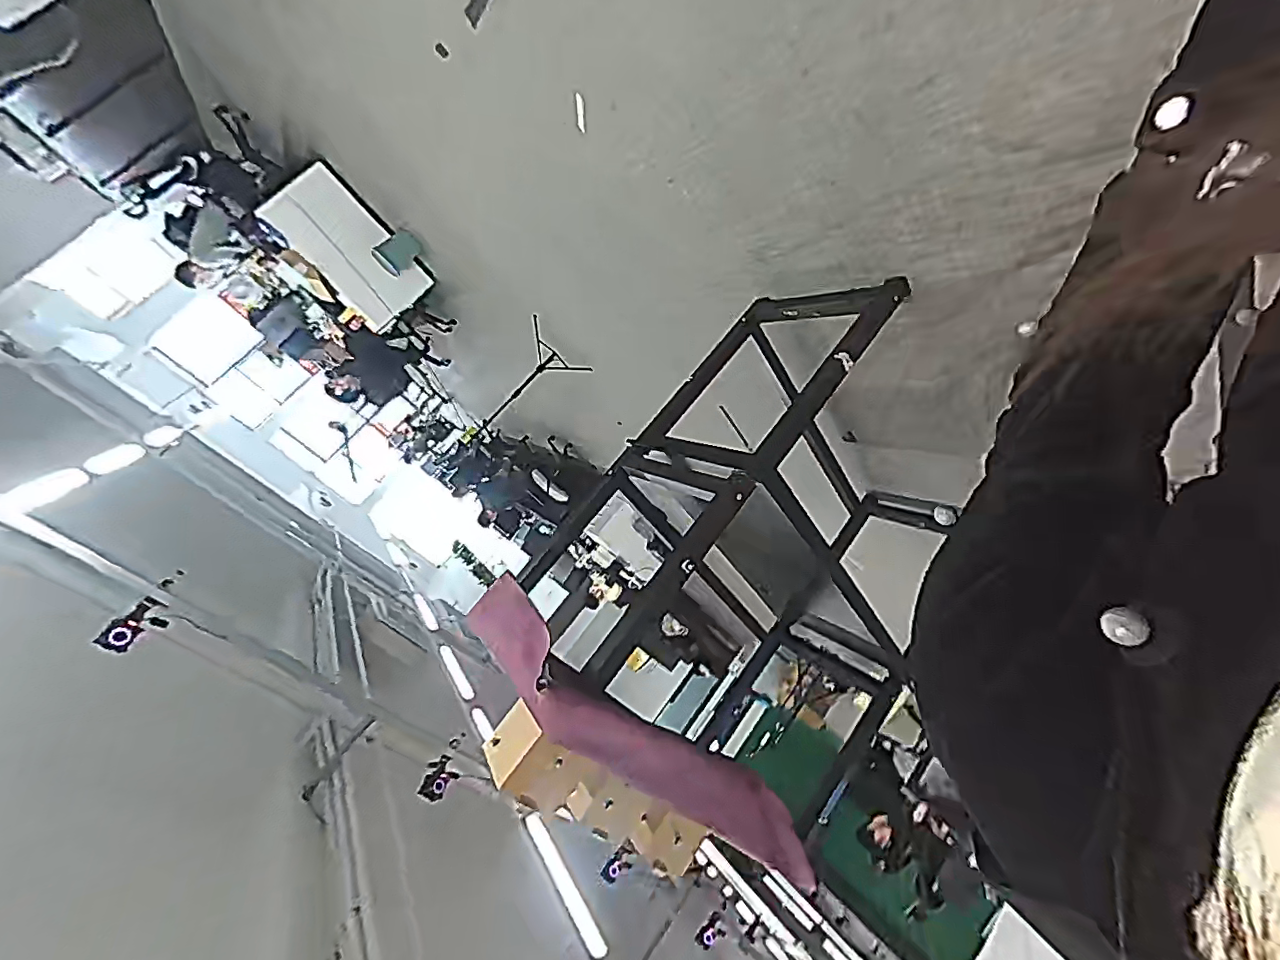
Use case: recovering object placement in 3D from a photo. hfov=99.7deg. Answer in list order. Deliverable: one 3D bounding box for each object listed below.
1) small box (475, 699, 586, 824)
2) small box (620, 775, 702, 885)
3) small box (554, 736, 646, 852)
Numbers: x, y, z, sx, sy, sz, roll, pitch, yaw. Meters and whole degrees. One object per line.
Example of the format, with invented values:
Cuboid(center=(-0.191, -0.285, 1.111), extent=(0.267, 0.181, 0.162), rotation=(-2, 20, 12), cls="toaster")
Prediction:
Cuboid(center=(-0.254, 0.643, 1.260), extent=(0.168, 0.176, 0.179), rotation=(45, 165, -24), cls="small box")
Cuboid(center=(0.050, 0.985, 1.537), extent=(0.168, 0.176, 0.179), rotation=(45, 164, -21), cls="small box")
Cuboid(center=(-0.109, 0.808, 1.408), extent=(0.168, 0.176, 0.179), rotation=(48, 164, -27), cls="small box")
